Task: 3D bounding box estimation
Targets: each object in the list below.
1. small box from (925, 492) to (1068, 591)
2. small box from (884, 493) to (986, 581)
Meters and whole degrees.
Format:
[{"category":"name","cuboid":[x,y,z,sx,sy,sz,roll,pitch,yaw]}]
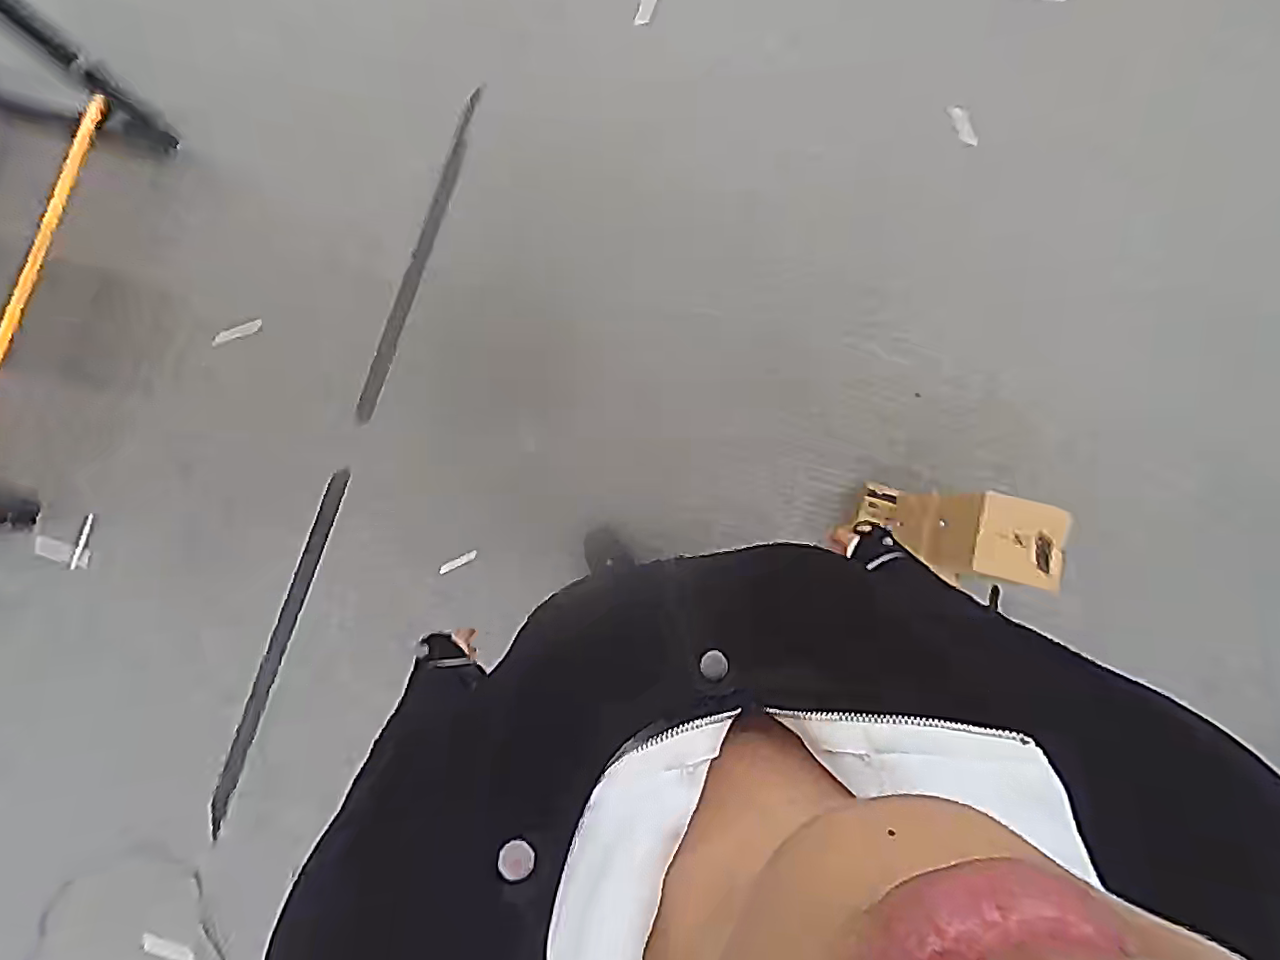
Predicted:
[{"category":"small box","cuboid":[0.755,0.127,1.161,0.179,0.176,0.168,15,86,0]},{"category":"small box","cuboid":[0.735,0.134,1.324,0.179,0.176,0.168,16,86,0]}]
